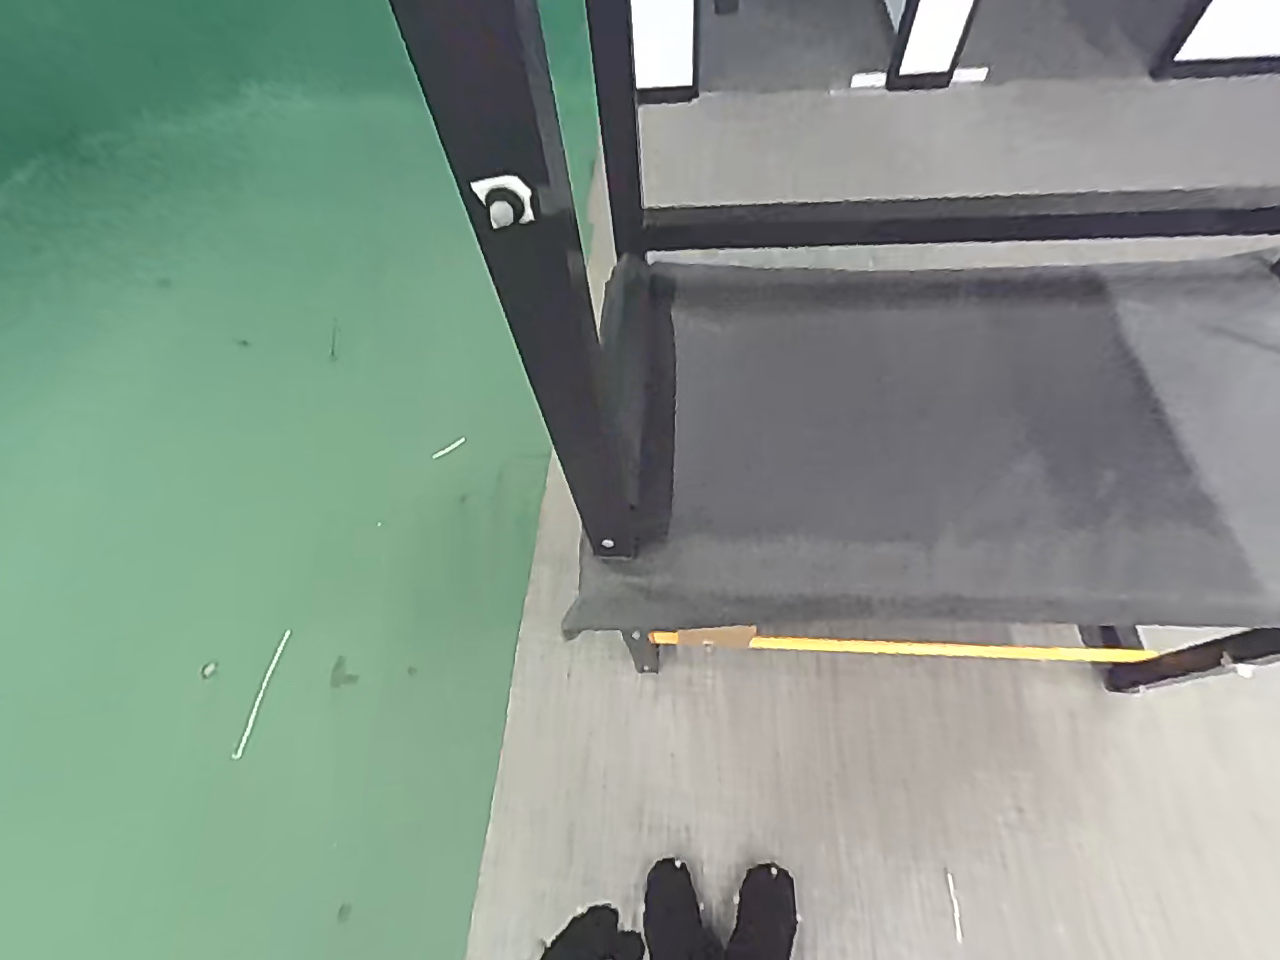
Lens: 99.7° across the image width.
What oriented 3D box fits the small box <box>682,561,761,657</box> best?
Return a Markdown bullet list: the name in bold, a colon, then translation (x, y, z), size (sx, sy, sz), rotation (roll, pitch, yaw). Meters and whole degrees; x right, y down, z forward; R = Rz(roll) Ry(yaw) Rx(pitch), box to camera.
- **small box**: translation (0.182, 0.301, 1.252), size (0.168, 0.176, 0.179), rotation (0, 61, 4)
